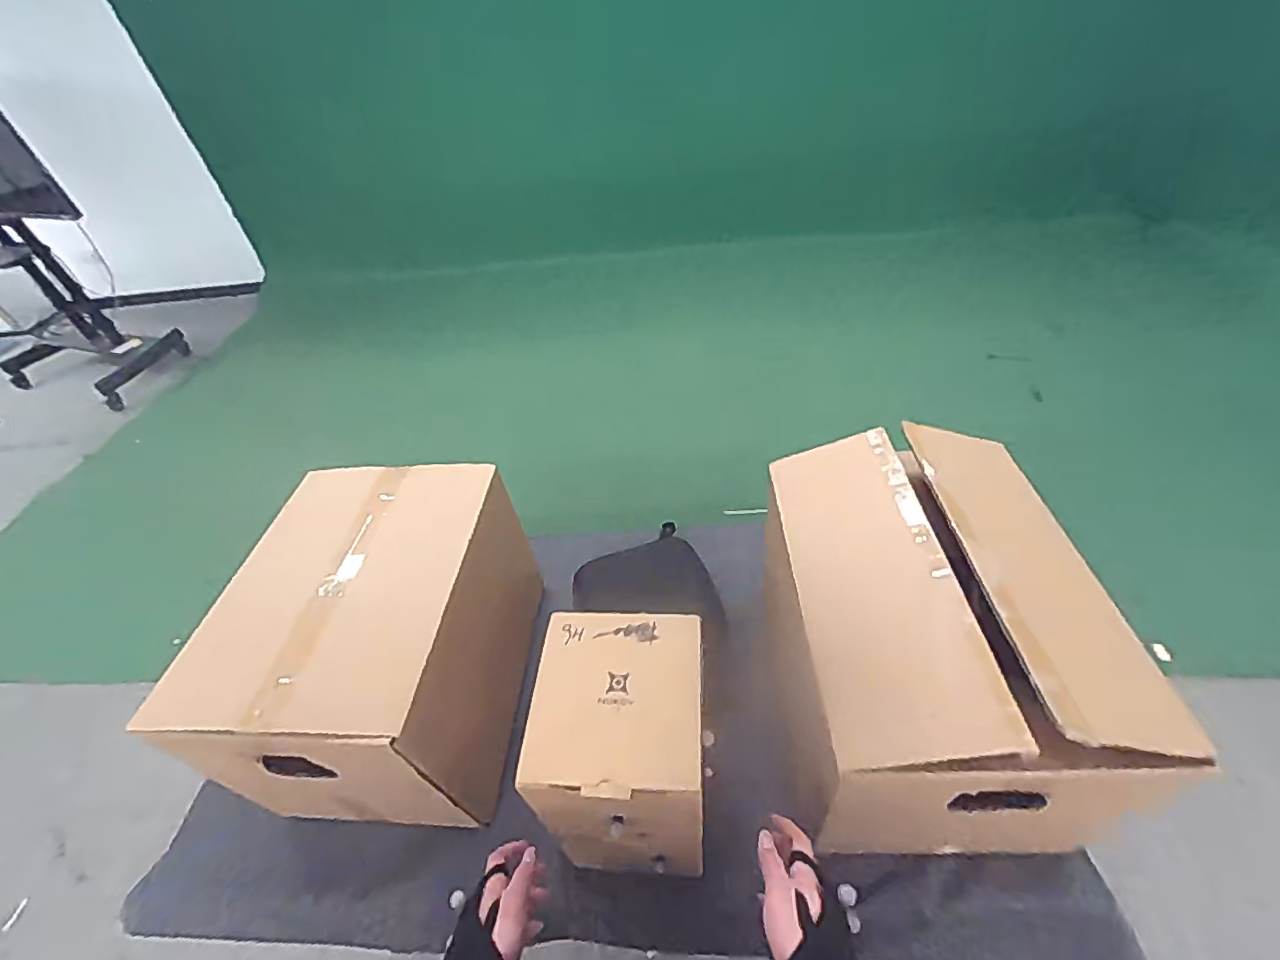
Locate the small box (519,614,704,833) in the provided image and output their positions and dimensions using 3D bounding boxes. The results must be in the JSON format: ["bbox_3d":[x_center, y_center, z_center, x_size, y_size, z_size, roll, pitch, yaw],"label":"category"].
[{"bbox_3d":[-0.014,0.266,0.589,0.168,0.176,0.179,-1,45,7],"label":"small box"}]
